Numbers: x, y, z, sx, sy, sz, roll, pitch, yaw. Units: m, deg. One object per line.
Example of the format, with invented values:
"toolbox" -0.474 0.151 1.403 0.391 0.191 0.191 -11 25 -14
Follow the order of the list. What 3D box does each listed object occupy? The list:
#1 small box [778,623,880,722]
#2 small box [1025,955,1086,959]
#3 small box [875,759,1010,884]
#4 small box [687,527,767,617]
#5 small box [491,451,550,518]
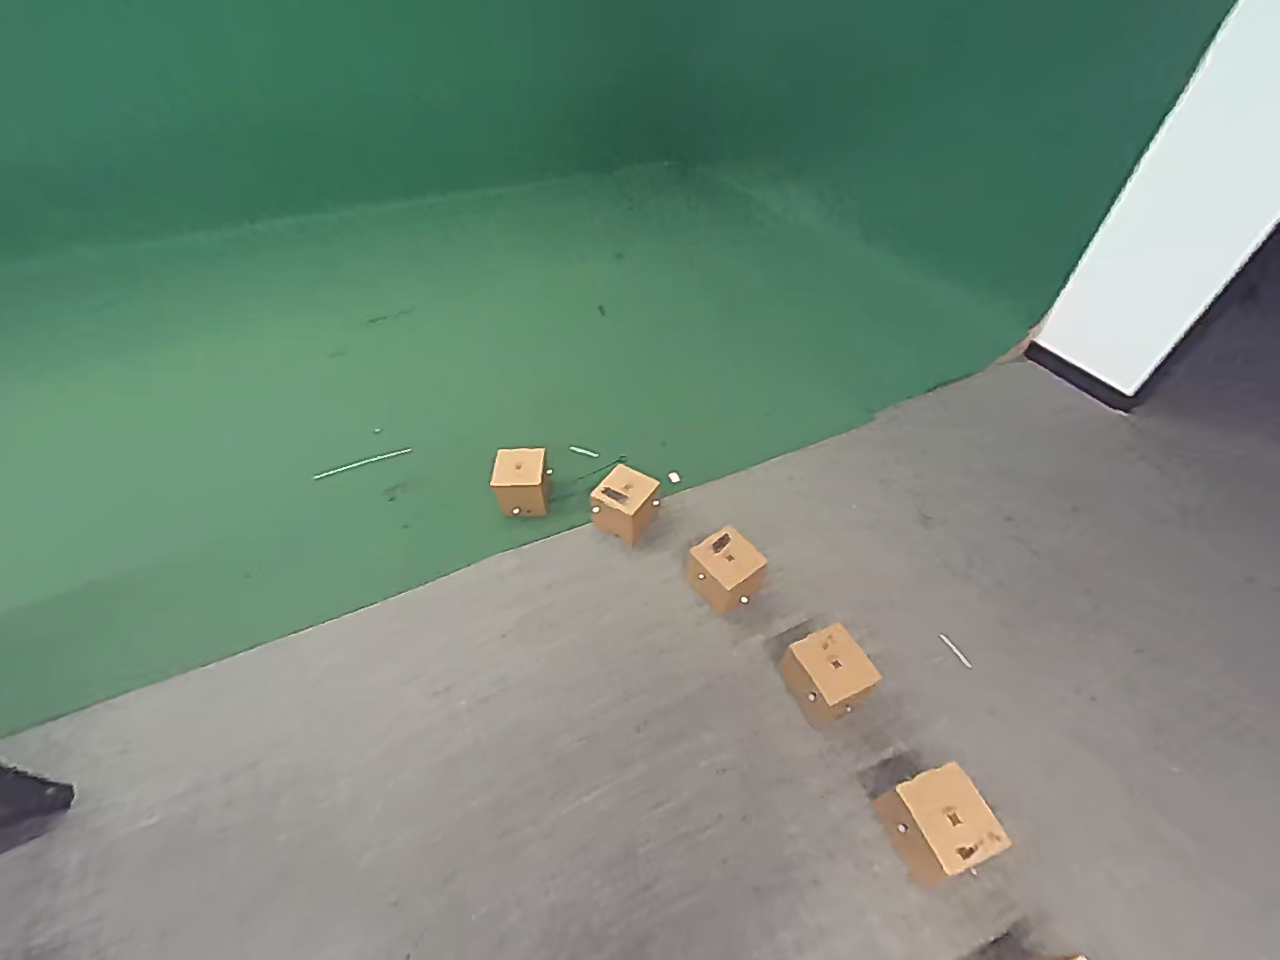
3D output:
"small box" 0.493 0.518 1.436 0.168 0.176 0.179 -18 50 -16
"small box" 0.762 1.006 0.989 0.179 0.176 0.168 -16 49 -12
"small box" 0.660 0.764 1.209 0.168 0.176 0.179 -15 49 -12
"small box" 0.258 0.283 1.655 0.168 0.176 0.179 -29 54 -24
"small box" -0.415 0.017 1.911 0.168 0.176 0.179 -1 47 0
